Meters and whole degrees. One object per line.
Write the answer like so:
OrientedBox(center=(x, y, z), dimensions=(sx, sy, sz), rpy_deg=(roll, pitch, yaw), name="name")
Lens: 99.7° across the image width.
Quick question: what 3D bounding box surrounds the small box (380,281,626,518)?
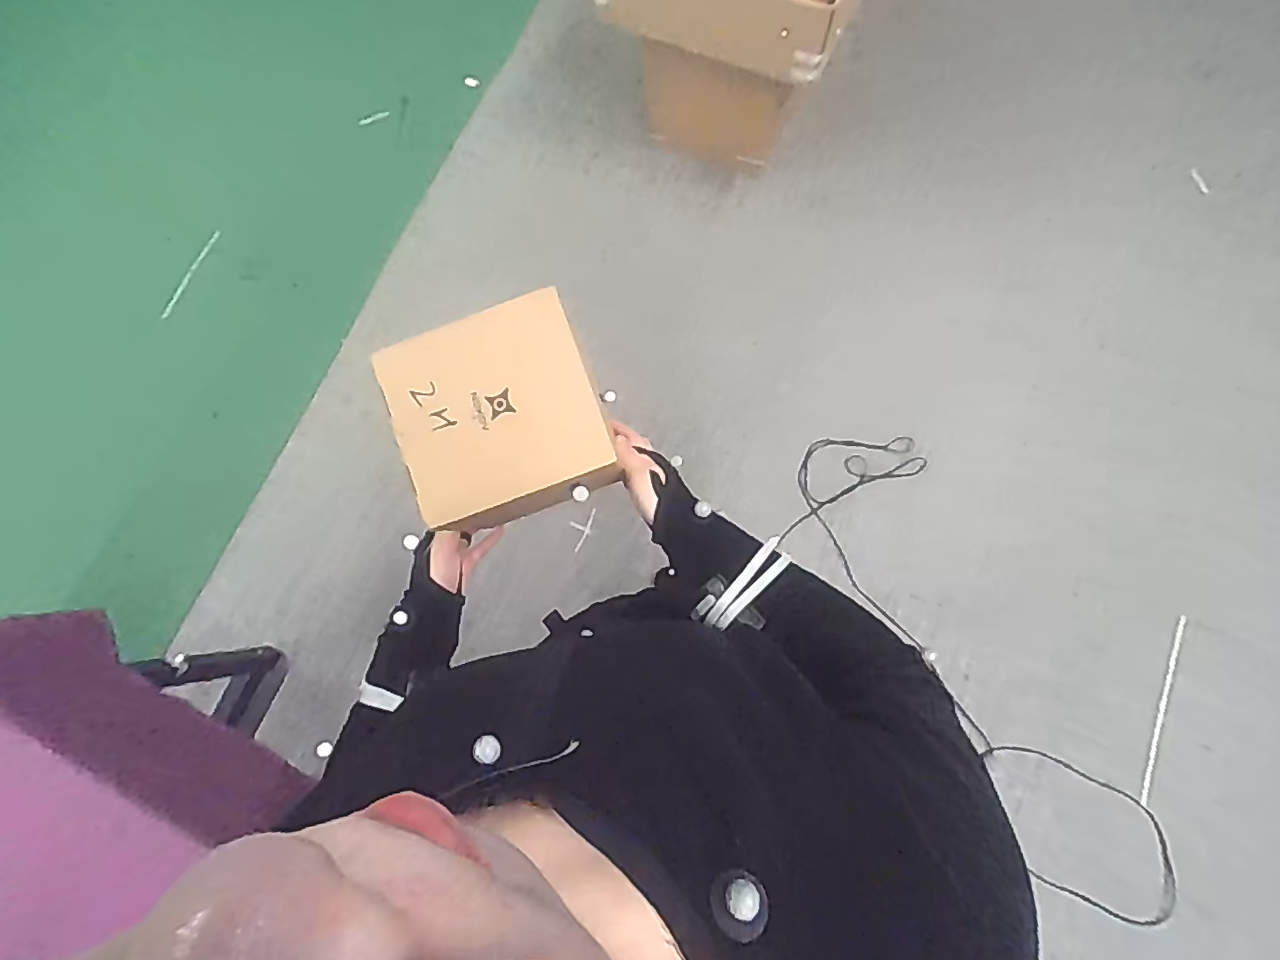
OrientedBox(center=(-0.118, -0.066, 0.545), dimensions=(0.179, 0.176, 0.168), rpy_deg=(-19, 84, 3), name="small box")
